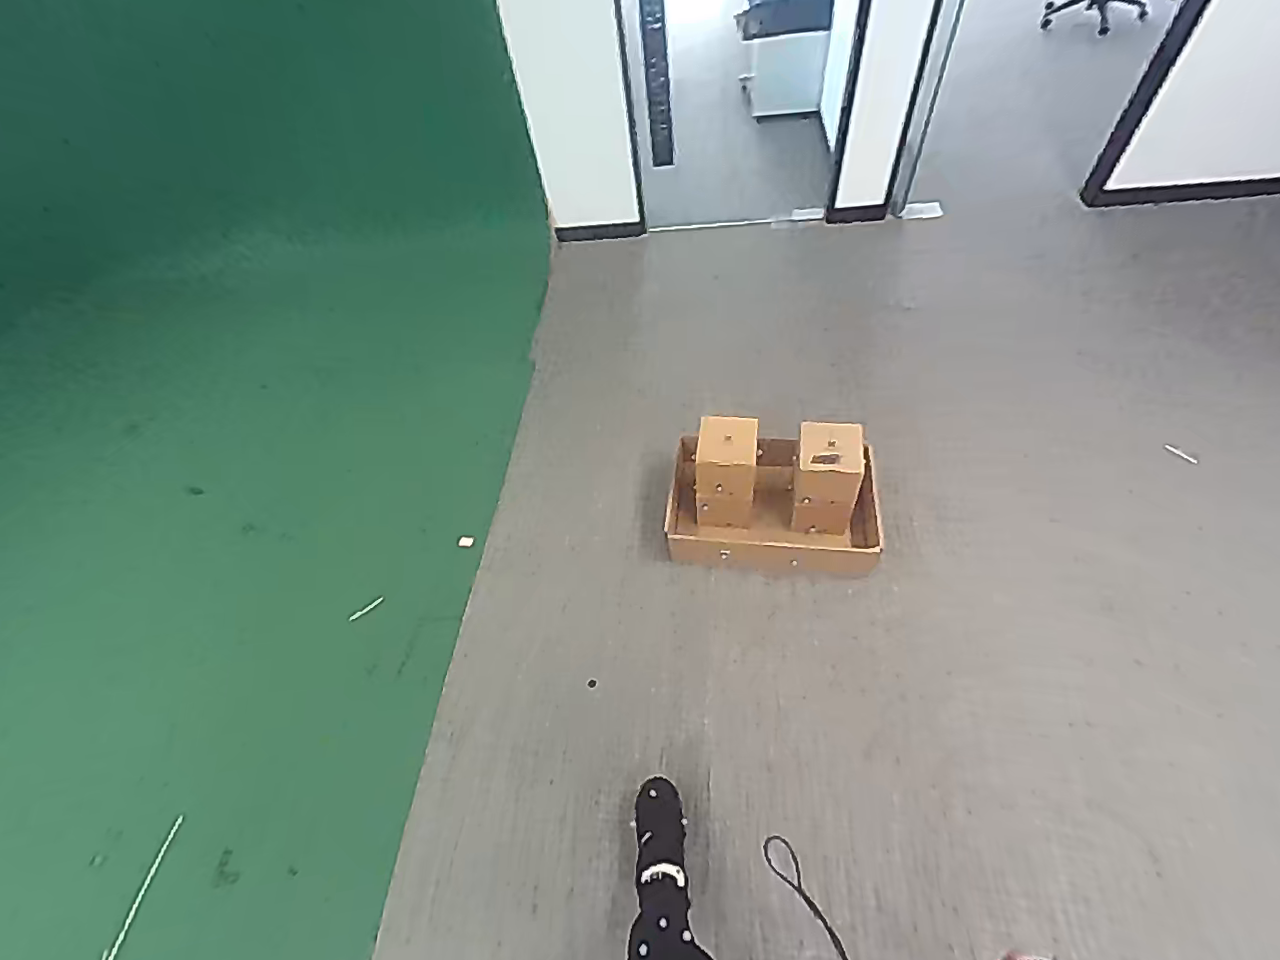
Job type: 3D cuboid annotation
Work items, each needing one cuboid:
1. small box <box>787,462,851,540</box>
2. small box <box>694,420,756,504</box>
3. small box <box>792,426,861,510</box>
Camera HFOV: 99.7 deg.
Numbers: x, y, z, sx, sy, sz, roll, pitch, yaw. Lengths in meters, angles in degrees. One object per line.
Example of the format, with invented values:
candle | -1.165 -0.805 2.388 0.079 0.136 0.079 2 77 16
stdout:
small box | 0.547 0.065 1.669 0.168 0.176 0.179 3 55 11
small box | 0.249 -0.053 1.593 0.168 0.176 0.179 4 54 10
small box | 0.526 -0.032 1.538 0.168 0.176 0.179 4 53 12
